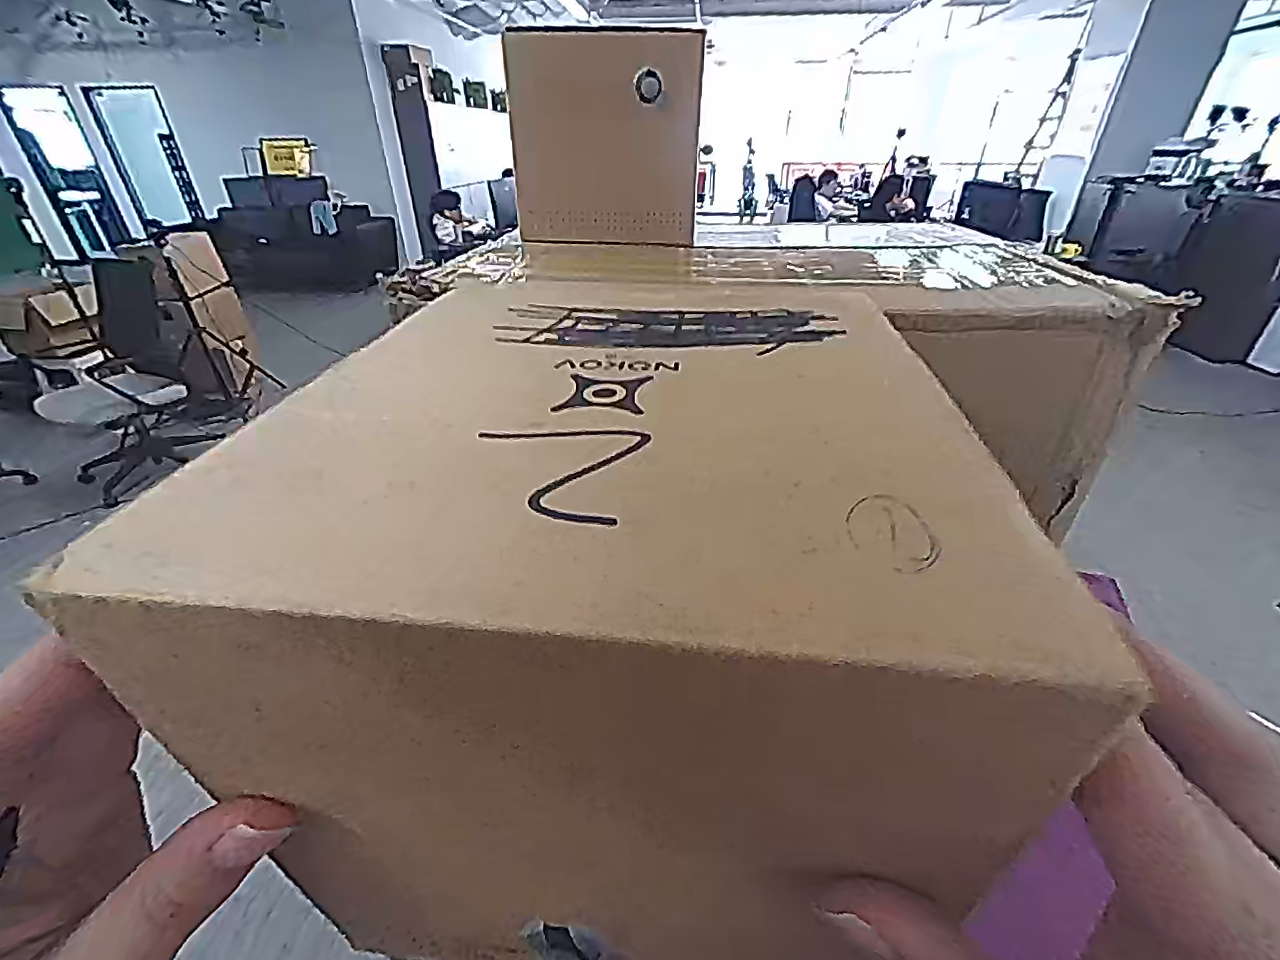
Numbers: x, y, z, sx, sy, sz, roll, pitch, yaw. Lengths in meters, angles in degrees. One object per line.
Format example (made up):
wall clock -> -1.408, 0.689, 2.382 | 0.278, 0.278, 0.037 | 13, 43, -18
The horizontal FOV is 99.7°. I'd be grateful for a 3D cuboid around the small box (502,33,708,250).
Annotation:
small box -> -0.026, -0.340, 0.559 | 0.179, 0.176, 0.168 | 3, 31, 4
